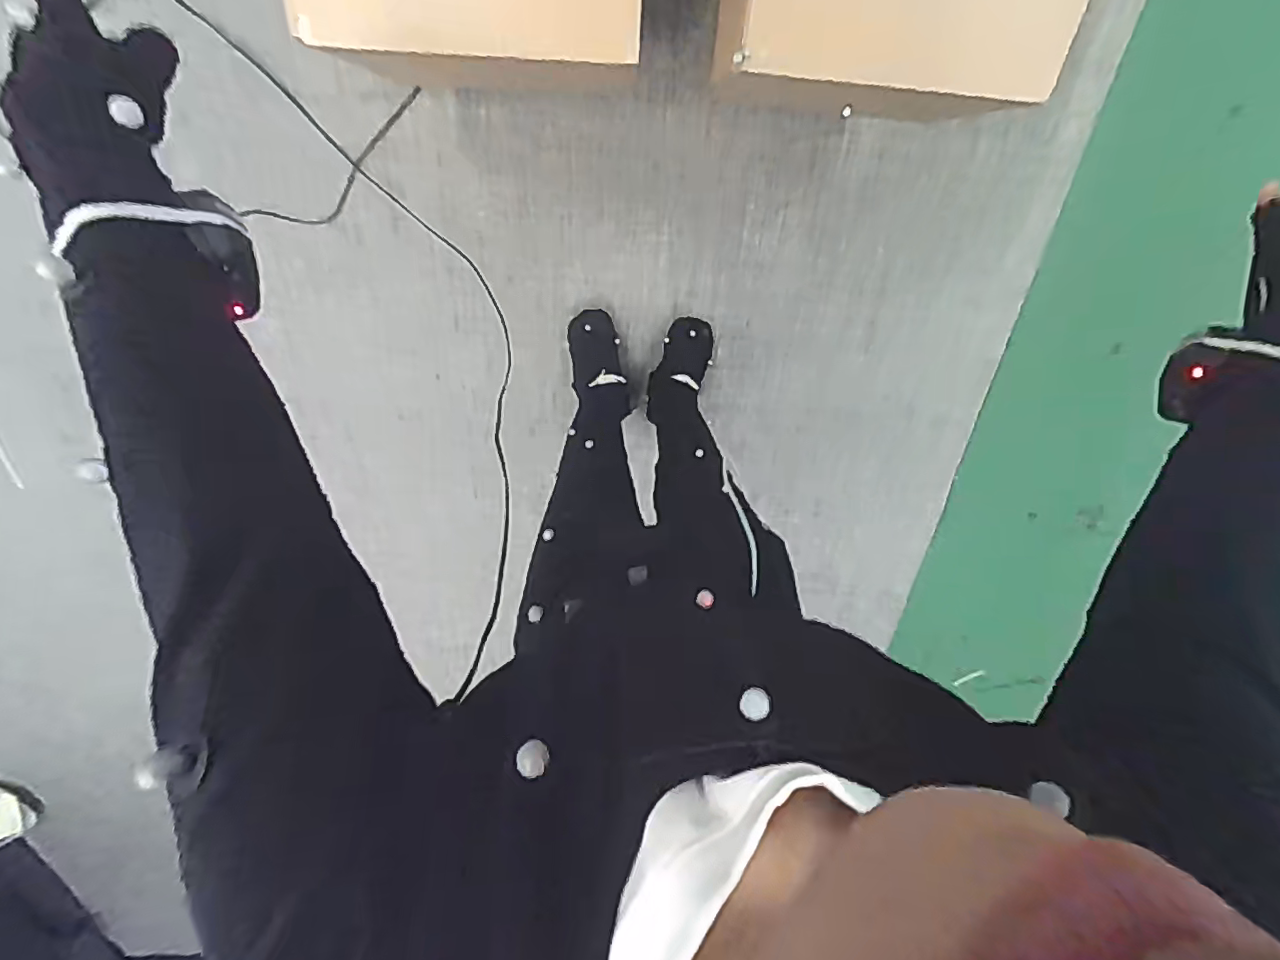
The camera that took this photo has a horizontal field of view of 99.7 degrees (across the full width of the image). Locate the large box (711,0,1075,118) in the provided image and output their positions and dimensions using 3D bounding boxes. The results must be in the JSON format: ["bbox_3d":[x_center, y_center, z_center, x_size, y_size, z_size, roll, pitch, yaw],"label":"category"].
[{"bbox_3d":[0.335,-0.709,0.751,0.408,0.320,0.320,4,119,-3],"label":"large box"}]
